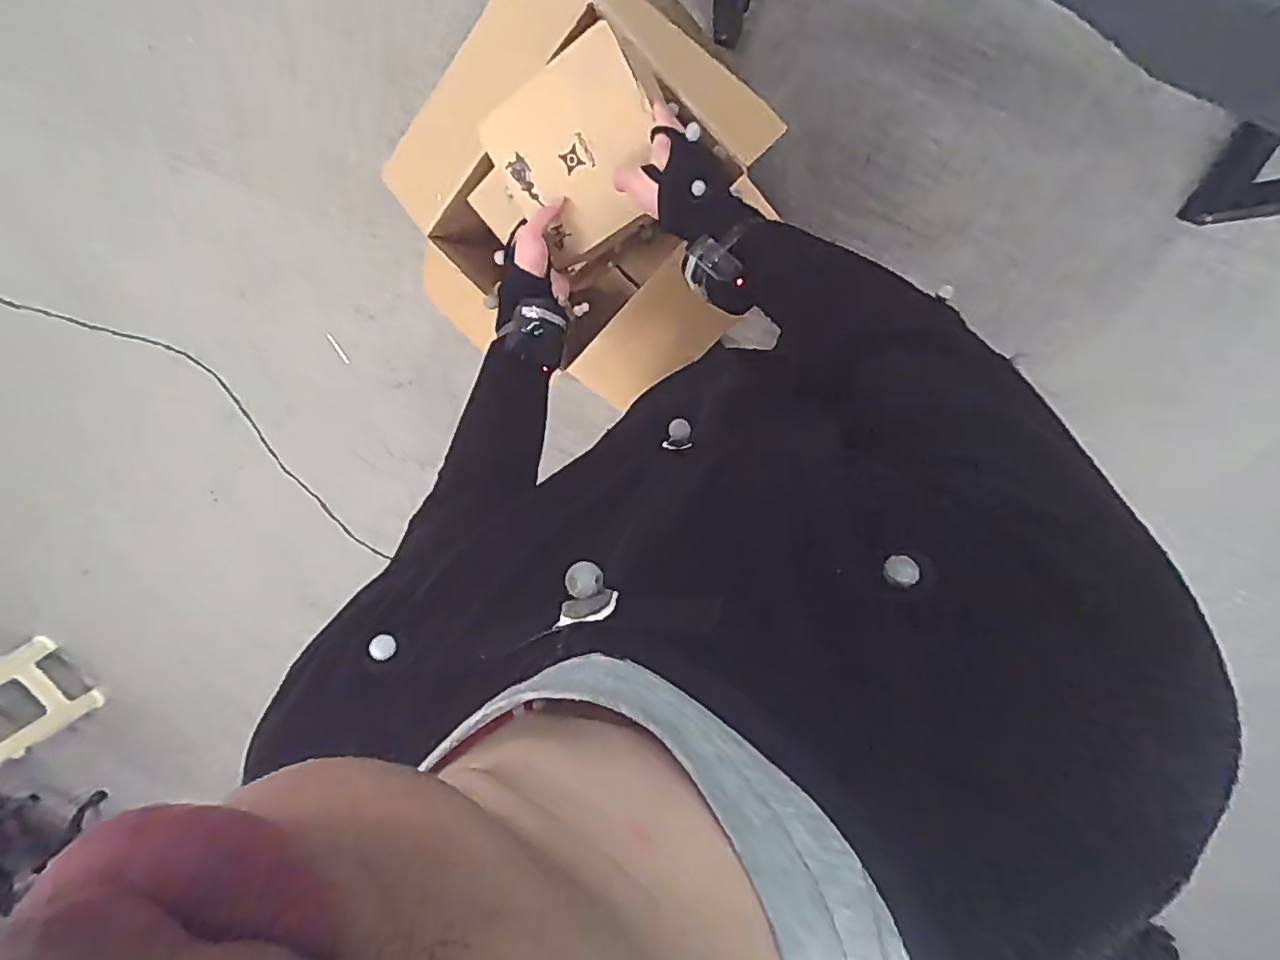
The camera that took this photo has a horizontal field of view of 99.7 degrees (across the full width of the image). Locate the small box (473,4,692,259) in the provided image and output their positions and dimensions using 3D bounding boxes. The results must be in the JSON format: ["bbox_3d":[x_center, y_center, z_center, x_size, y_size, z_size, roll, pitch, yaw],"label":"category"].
[{"bbox_3d":[-0.049,-0.382,0.623,0.179,0.176,0.168,-23,110,22],"label":"small box"}]
